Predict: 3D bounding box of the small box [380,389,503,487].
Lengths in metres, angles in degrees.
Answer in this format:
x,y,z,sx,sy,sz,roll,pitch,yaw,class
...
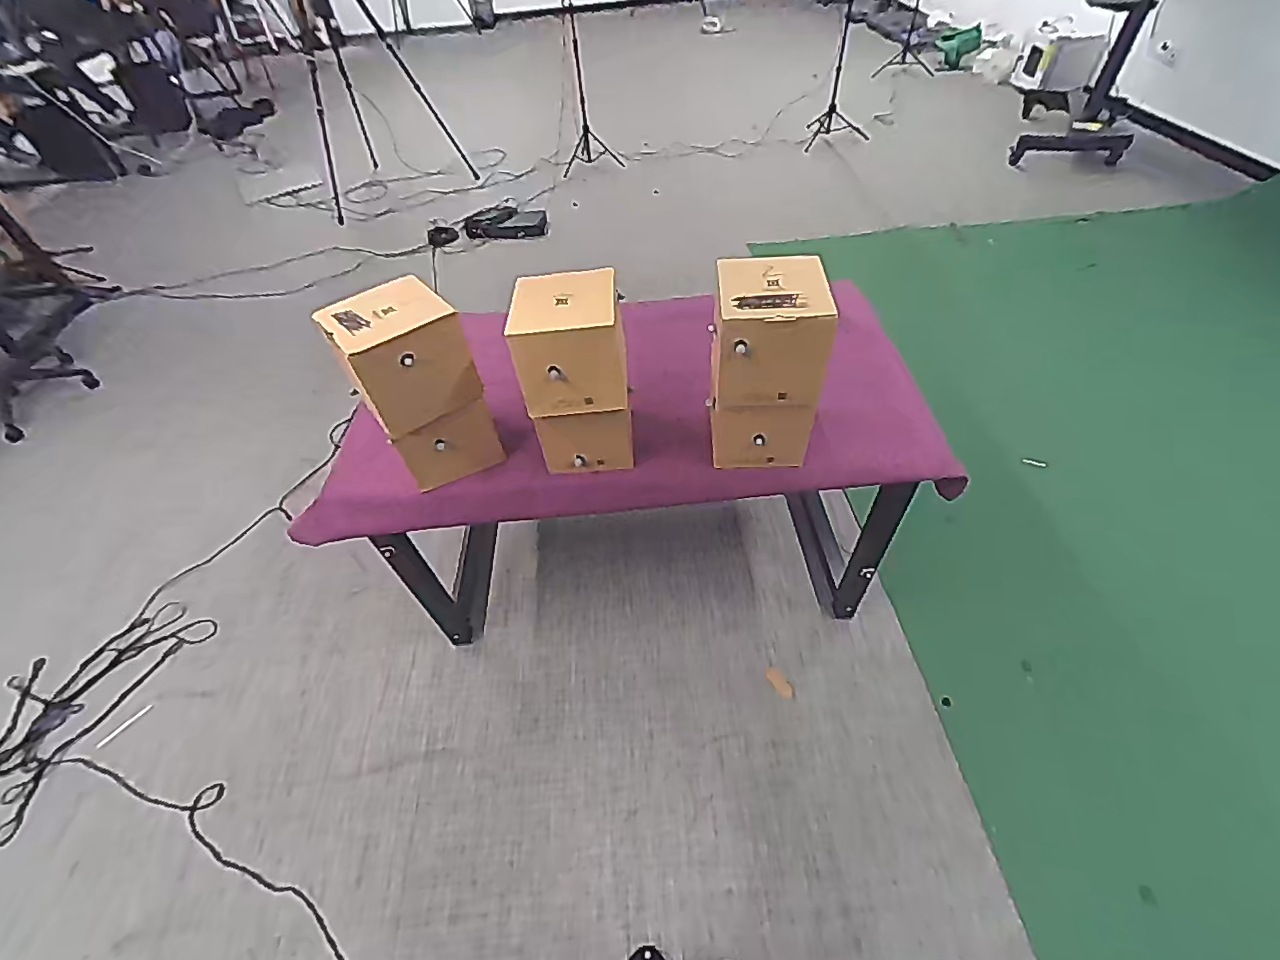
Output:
x,y,z,sx,sy,sz,roll,pitch,yaw,class
-0.387,-0.116,1.042,0.179,0.176,0.168,-24,51,-15,small box

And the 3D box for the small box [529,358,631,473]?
x,y,z,sx,sy,sz,roll,pitch,yaw,class
-0.106,-0.134,1.038,0.168,0.176,0.179,-4,49,2,small box

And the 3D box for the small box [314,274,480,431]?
x,y,z,sx,sy,sz,roll,pitch,yaw,class
-0.398,-0.212,0.908,0.179,0.176,0.168,-33,54,-24,small box

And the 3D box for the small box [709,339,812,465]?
x,y,z,sx,sy,sz,roll,pitch,yaw,class
0.216,-0.142,1.017,0.168,0.176,0.179,0,49,4,small box

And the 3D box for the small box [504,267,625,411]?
x,y,z,sx,sy,sz,roll,pitch,yaw,class
-0.115,-0.229,0.905,0.168,0.176,0.179,-5,47,2,small box
